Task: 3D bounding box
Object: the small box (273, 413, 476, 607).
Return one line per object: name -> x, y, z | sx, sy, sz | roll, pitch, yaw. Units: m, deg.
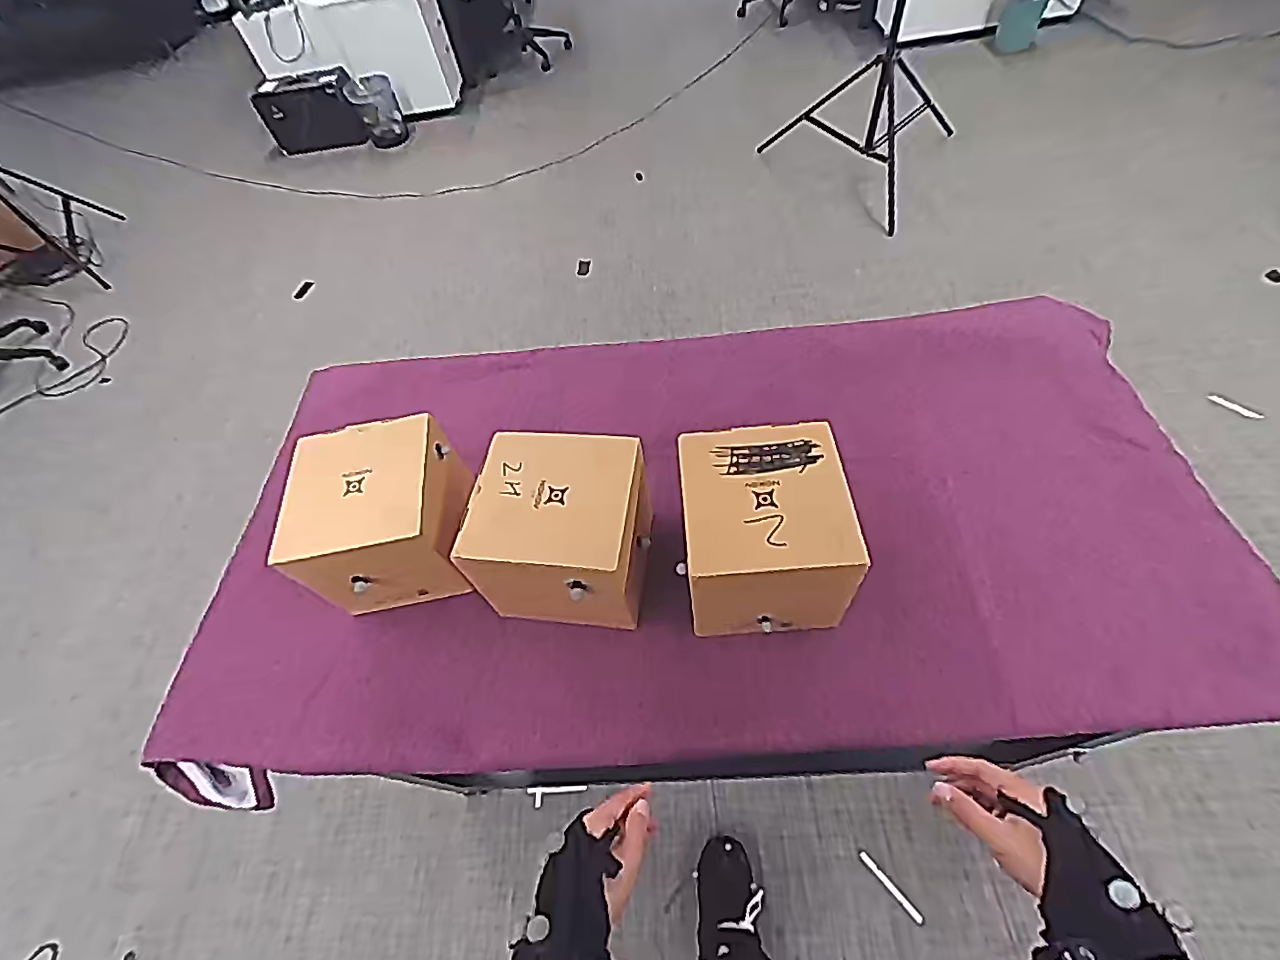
small box -> -0.315, 0.047, 0.685 | 0.168, 0.176, 0.179 | -12, 56, 0
